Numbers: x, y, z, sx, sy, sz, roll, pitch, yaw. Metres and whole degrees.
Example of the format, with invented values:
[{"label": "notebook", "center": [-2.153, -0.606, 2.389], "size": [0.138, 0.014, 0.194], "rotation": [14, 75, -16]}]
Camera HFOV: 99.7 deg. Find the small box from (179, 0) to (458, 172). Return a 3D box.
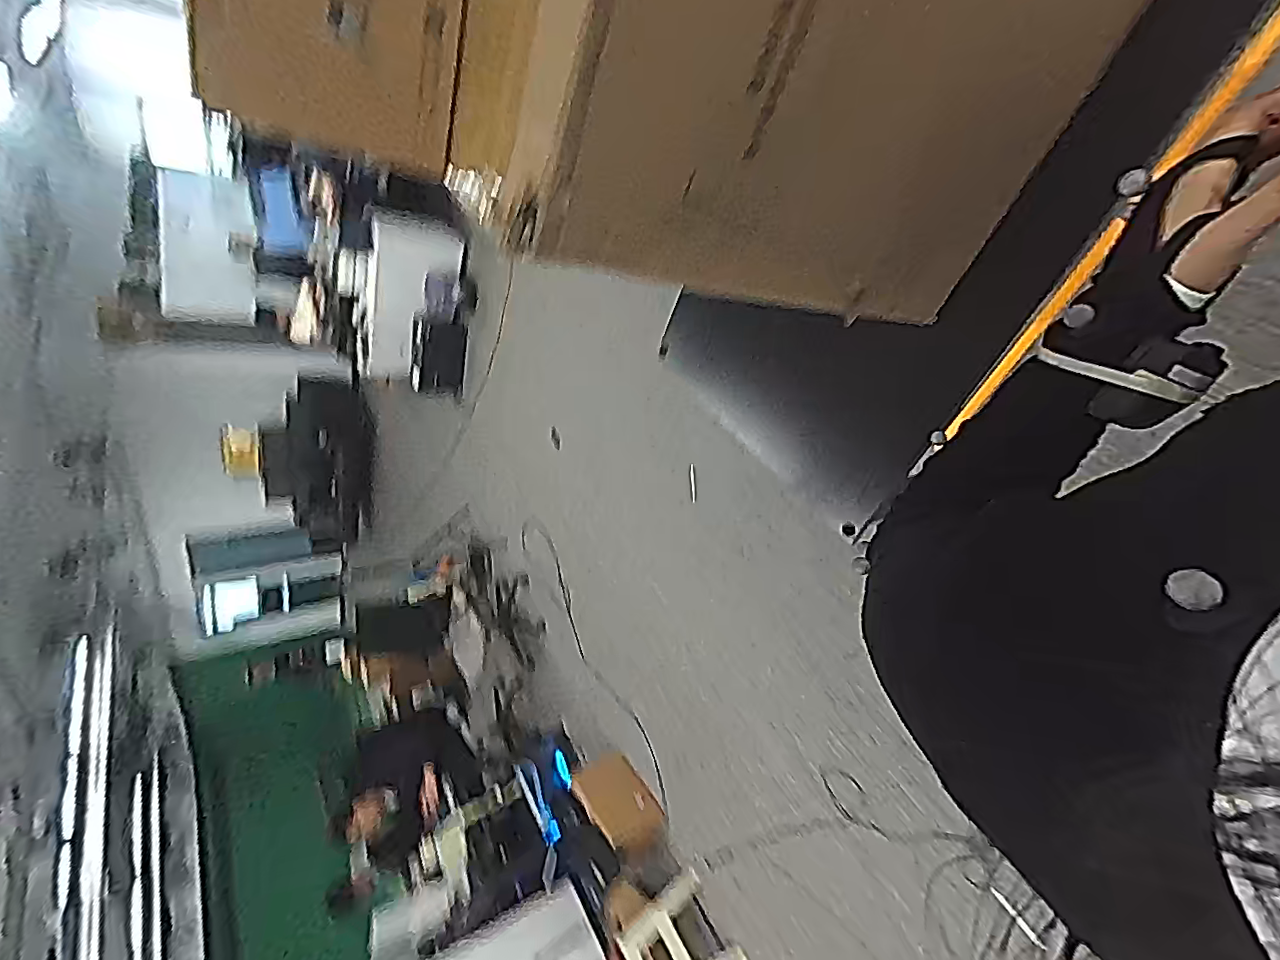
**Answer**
[{"label": "small box", "center": [-0.256, -0.364, 0.429], "size": [0.179, 0.176, 0.168], "rotation": [46, 129, 38]}]
